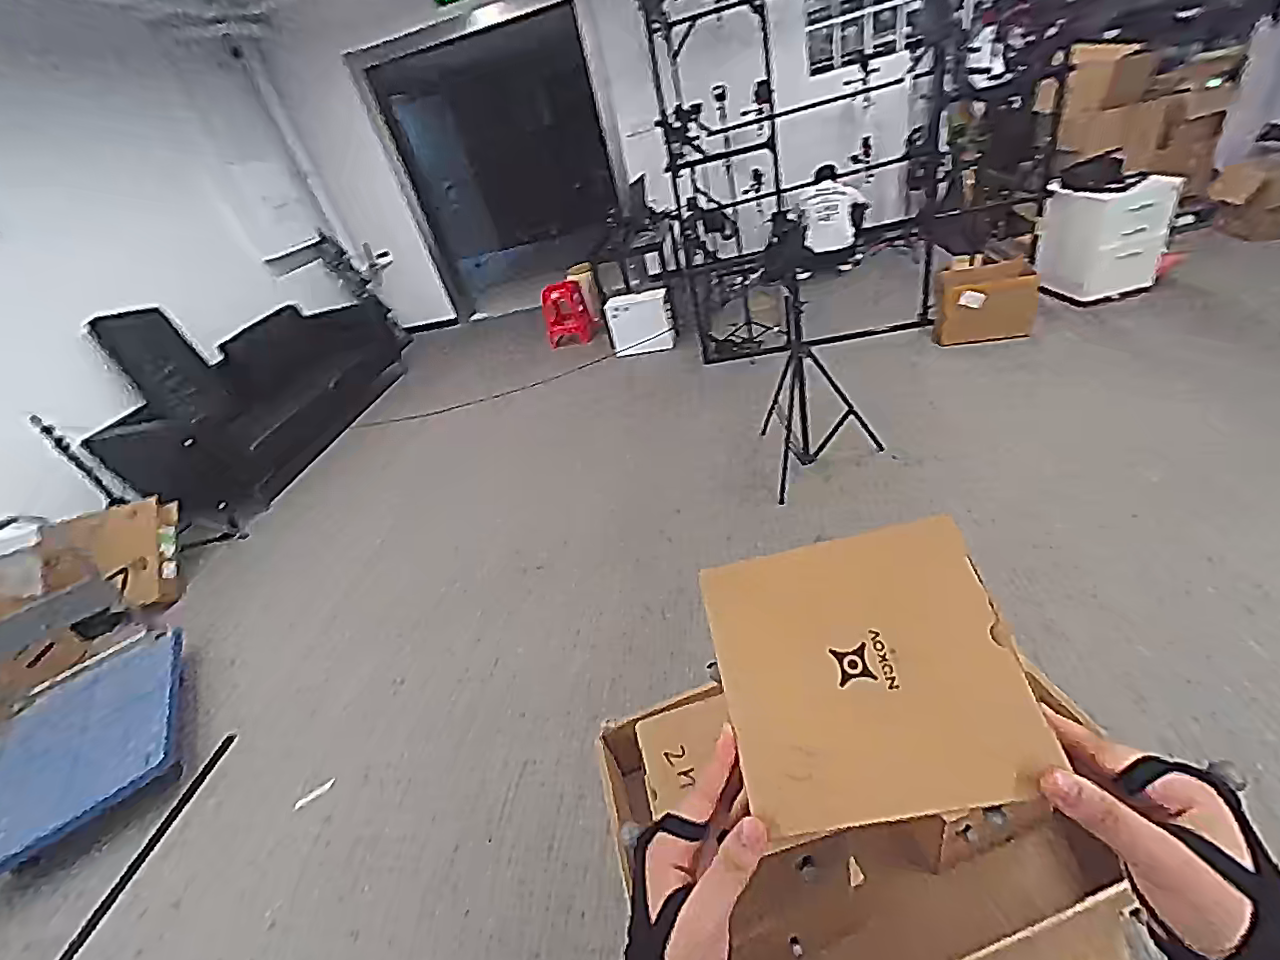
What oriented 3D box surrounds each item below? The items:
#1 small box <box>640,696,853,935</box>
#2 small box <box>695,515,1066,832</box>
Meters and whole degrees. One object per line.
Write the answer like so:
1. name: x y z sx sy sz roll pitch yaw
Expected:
1. small box: 0.113 0.358 0.597 0.179 0.176 0.168 -17 35 -1
2. small box: 0.153 0.150 0.405 0.179 0.176 0.168 -15 60 8
